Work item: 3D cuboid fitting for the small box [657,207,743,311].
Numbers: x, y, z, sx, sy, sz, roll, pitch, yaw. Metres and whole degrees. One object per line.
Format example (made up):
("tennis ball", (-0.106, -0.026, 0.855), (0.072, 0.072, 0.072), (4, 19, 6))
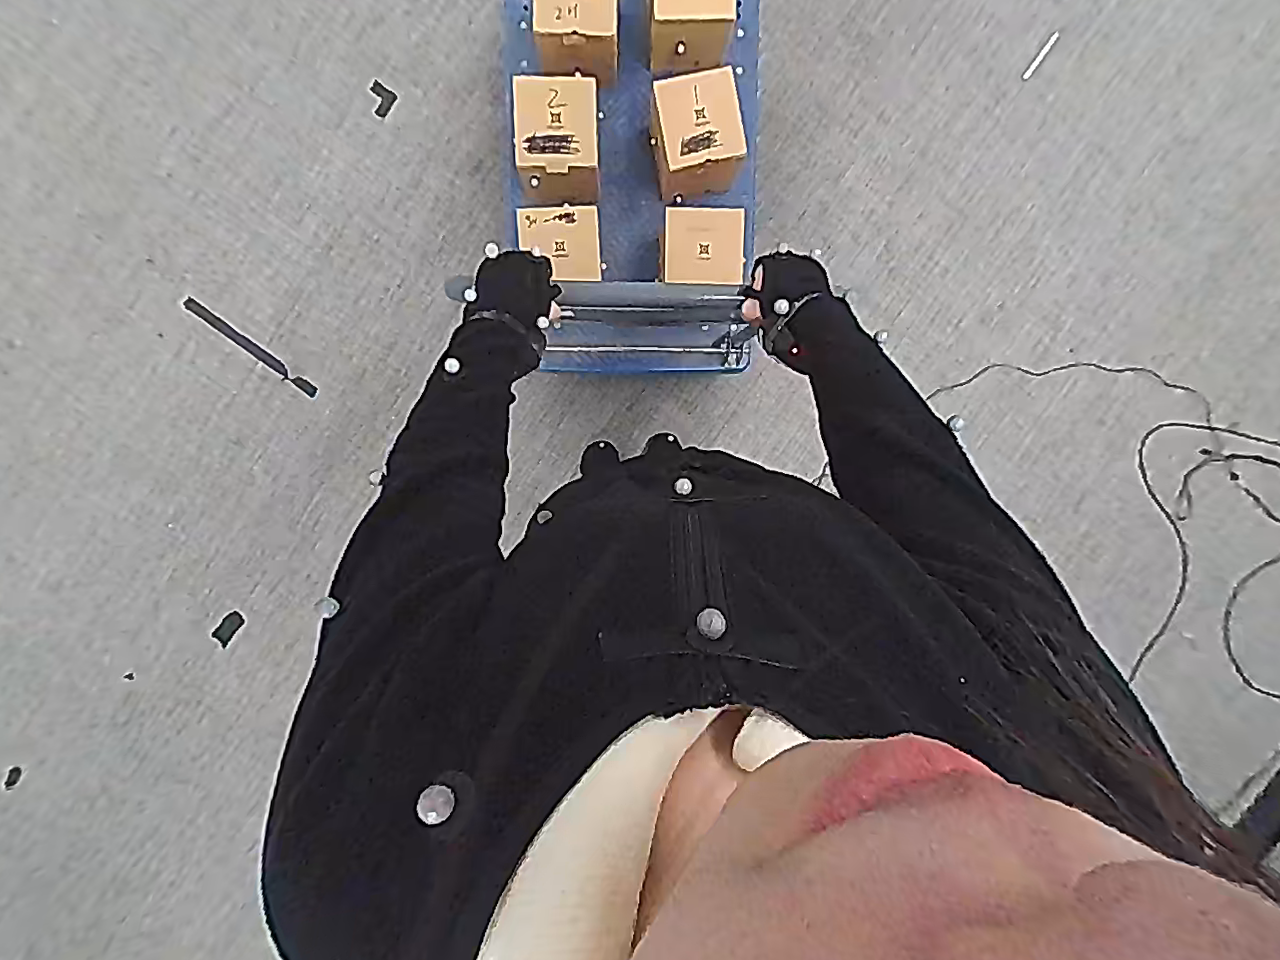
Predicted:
("small box", (0.127, -0.482, 1.203), (0.168, 0.176, 0.179), (0, 95, -3))

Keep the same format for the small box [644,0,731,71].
("small box", (0.097, -1.009, 1.150), (0.168, 0.176, 0.179), (-3, 95, -2))

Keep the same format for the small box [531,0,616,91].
("small box", (-0.135, -0.971, 1.142), (0.168, 0.176, 0.179), (1, 96, -3))
